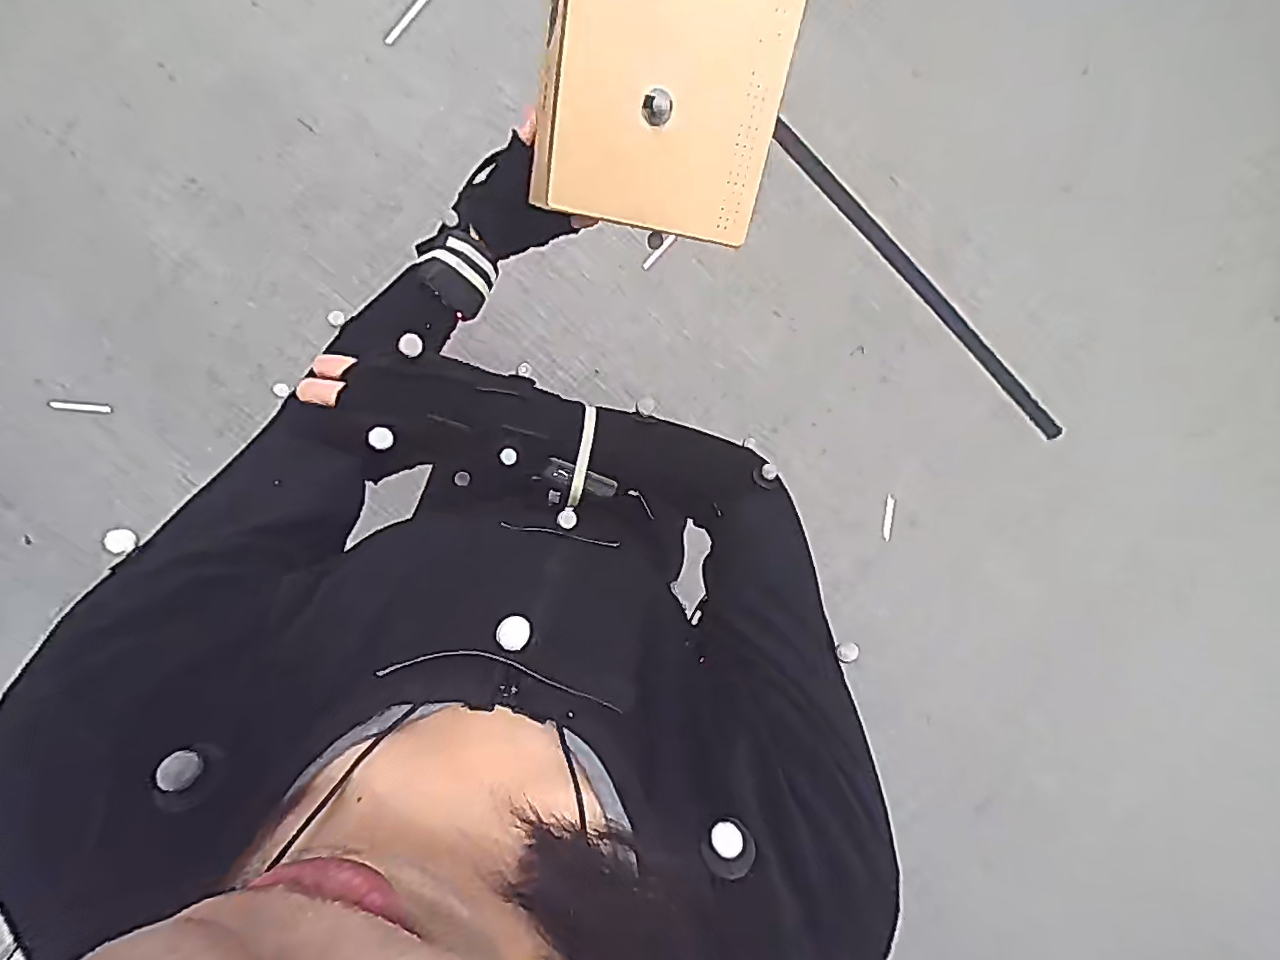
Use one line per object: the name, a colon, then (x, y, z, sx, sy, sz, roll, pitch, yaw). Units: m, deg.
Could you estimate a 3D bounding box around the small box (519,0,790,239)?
small box: (-0.001, -0.312, 0.442, 0.176, 0.168, 0.179, 3, 116, -17)
